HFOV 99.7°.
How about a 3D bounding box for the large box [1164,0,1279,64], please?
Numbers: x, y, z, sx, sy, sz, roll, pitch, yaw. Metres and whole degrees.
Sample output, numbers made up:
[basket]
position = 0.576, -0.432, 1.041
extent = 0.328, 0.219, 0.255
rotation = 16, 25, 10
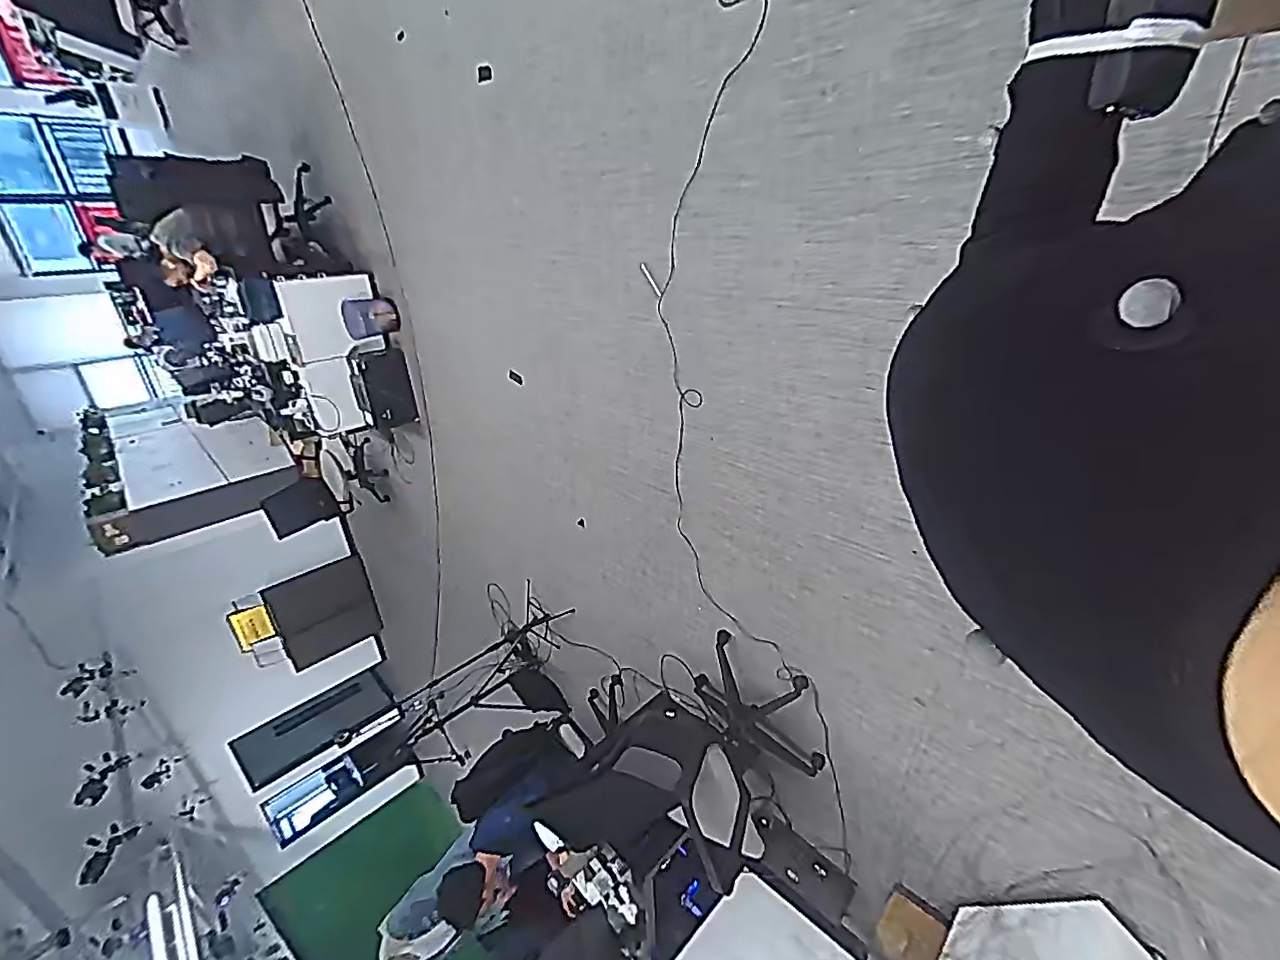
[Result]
[large box]
position = 0.547, -0.428, 0.231
extent = 0.408, 0.320, 0.320
rotation = 21, 126, 39
